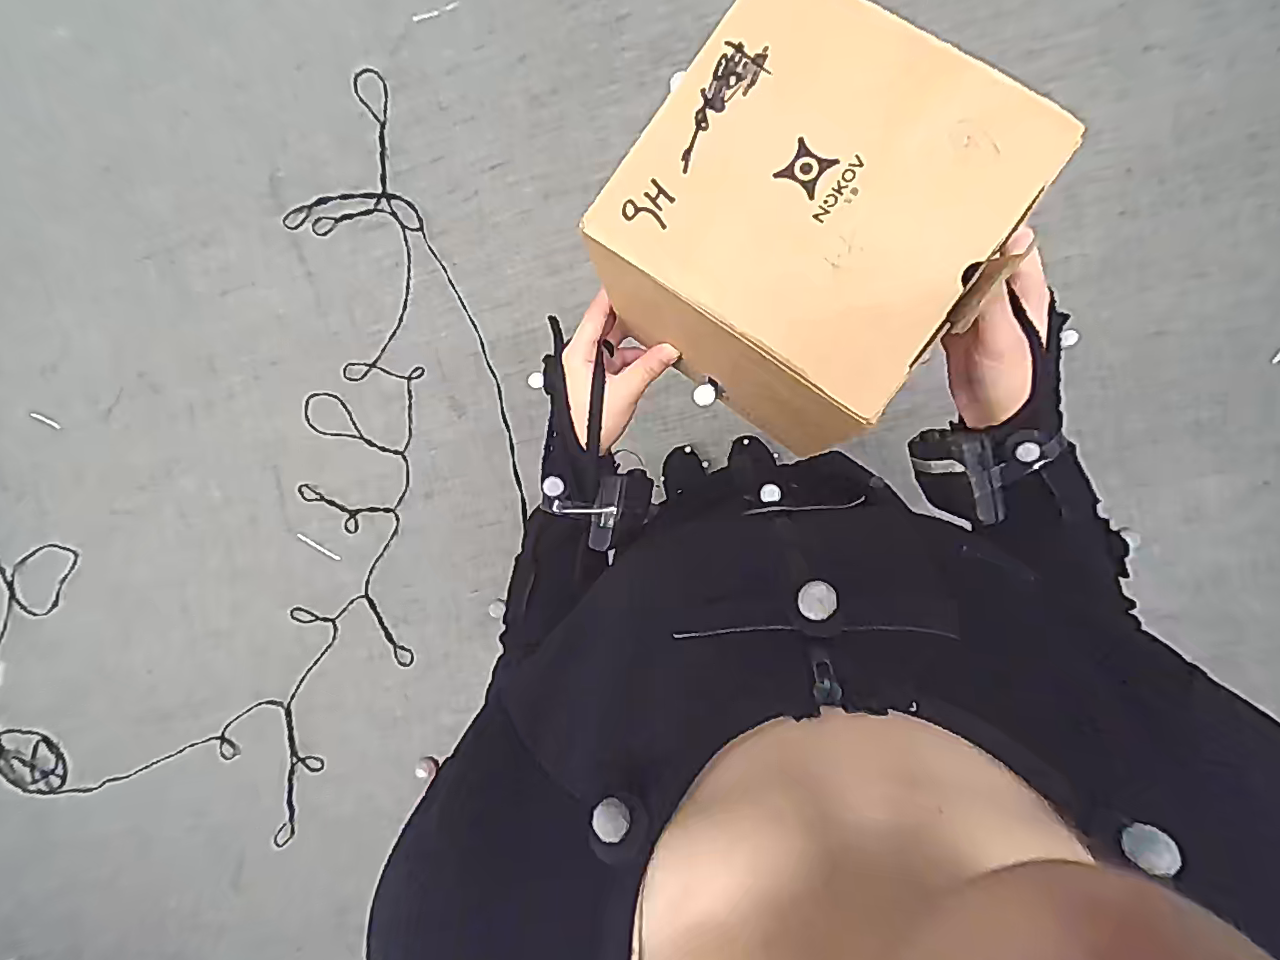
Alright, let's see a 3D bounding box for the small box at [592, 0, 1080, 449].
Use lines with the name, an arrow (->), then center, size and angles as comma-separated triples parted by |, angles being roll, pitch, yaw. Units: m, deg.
small box -> 0.099, -0.133, 0.342 | 0.179, 0.176, 0.168 | 38, 91, 7
